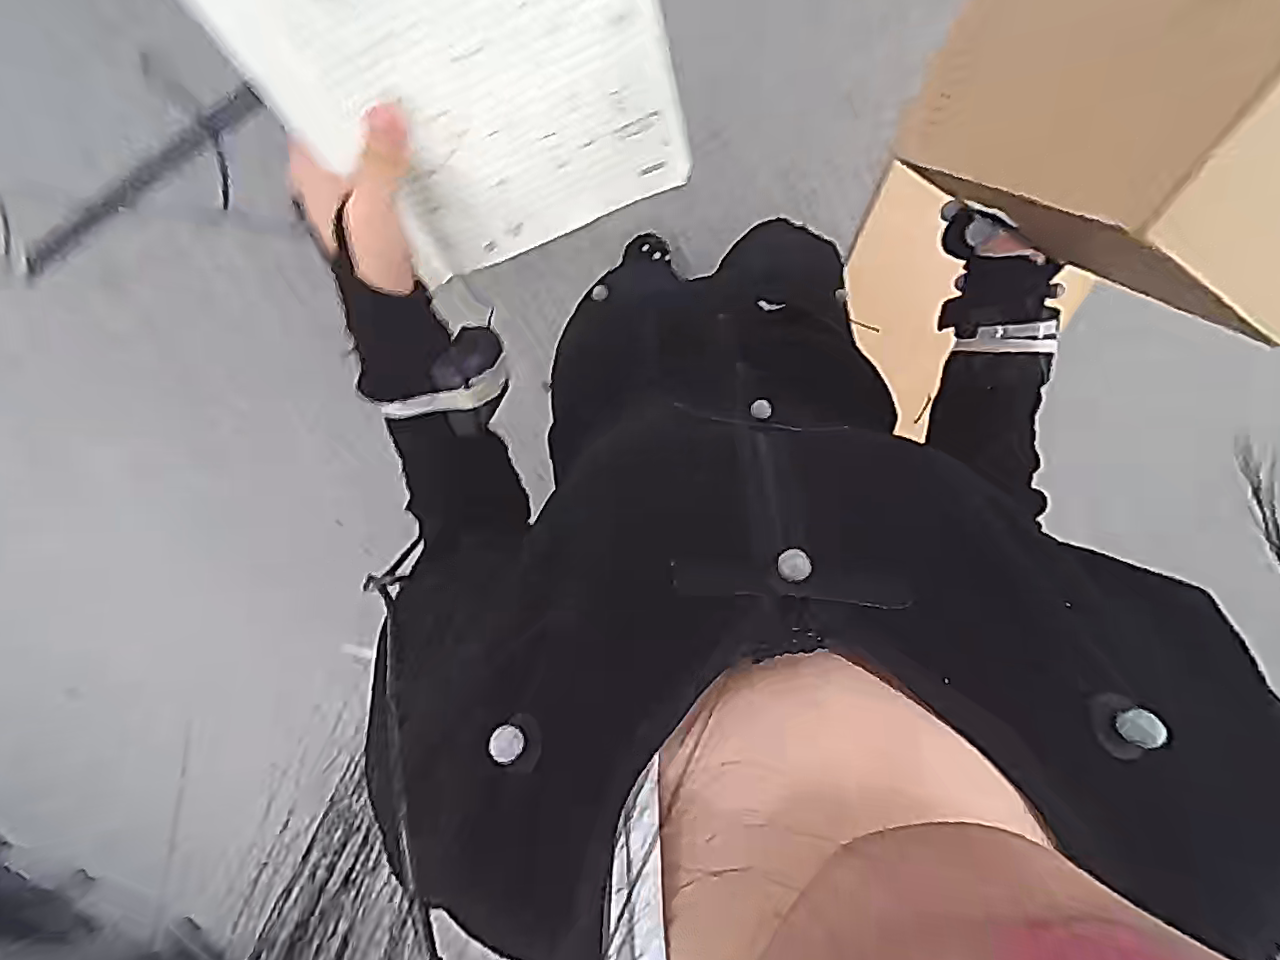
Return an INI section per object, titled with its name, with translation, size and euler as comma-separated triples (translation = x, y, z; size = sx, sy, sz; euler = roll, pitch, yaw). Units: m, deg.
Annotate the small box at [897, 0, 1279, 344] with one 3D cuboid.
[small box]
translation = 0.267, -0.196, 0.255
size = 0.168, 0.176, 0.179
euler = 9, 126, -26
